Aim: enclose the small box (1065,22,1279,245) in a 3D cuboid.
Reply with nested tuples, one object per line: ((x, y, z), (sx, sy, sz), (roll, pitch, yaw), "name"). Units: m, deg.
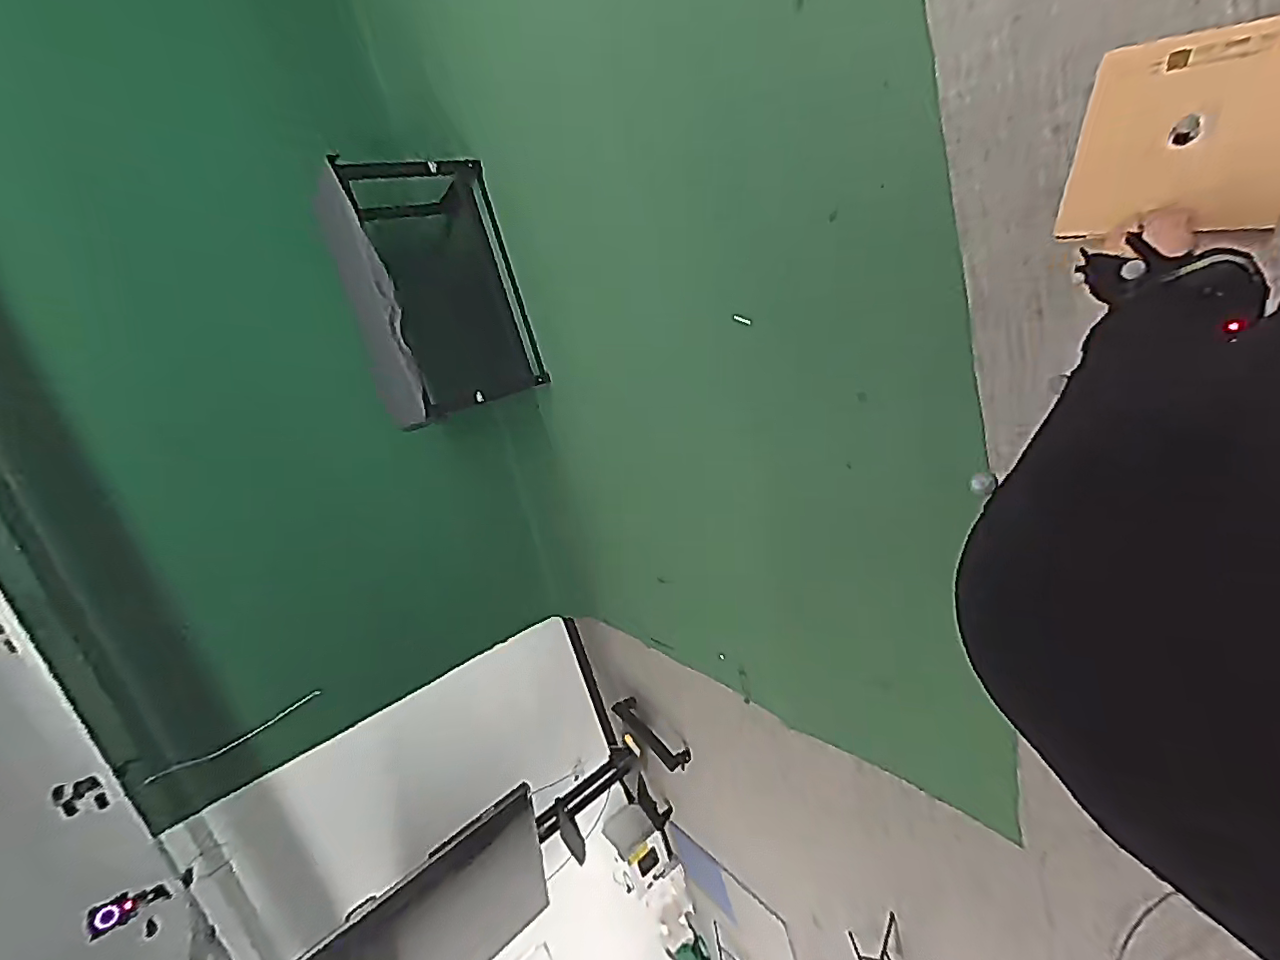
((0.568, -0.340, 0.551), (0.168, 0.179, 0.176), (19, 119, 44), "small box")
